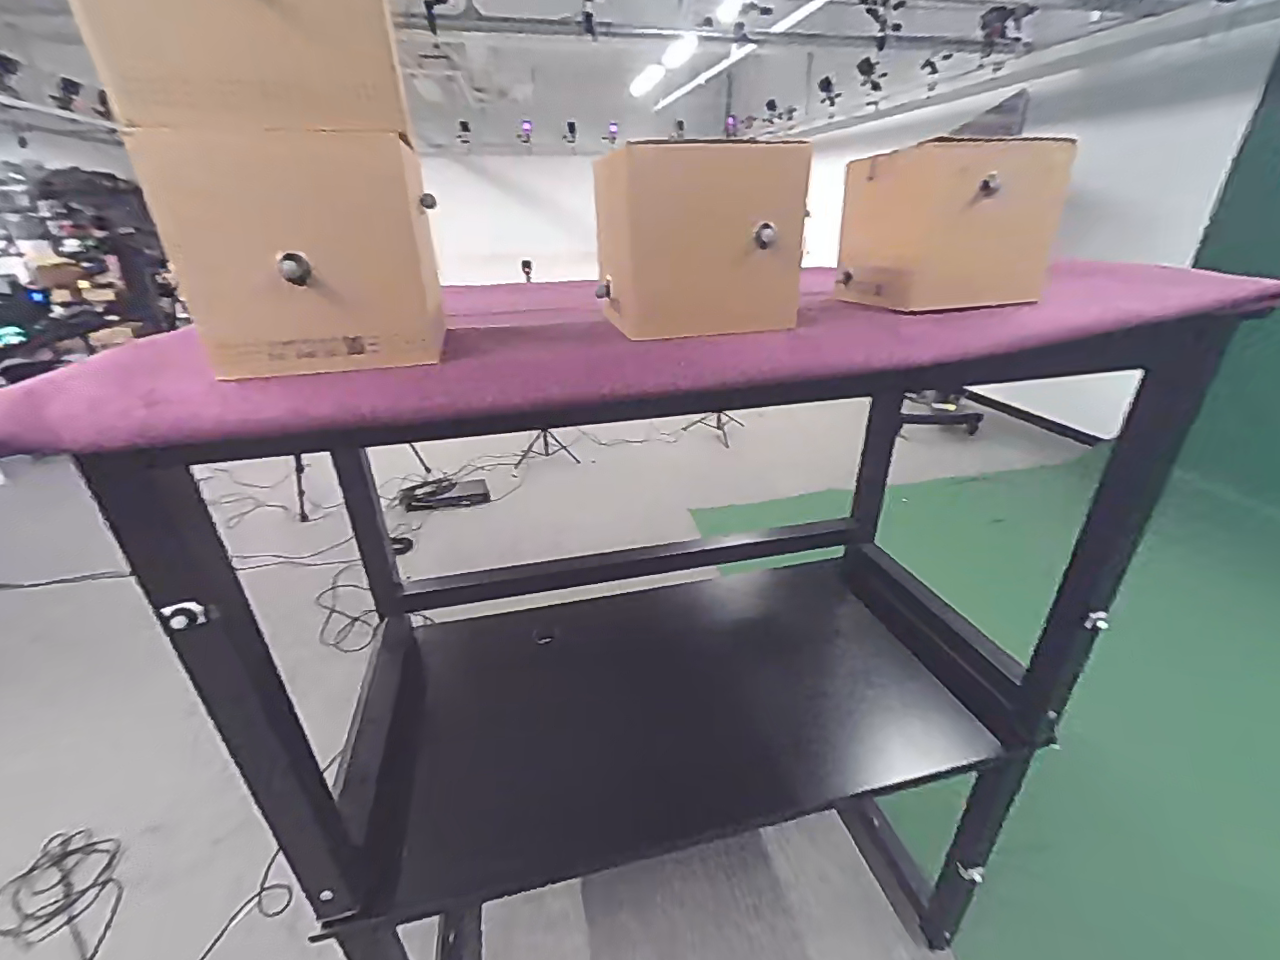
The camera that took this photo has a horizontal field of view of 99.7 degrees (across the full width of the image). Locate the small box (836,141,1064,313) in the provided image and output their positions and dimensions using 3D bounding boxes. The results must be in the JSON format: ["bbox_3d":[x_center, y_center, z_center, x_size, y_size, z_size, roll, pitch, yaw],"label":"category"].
[{"bbox_3d":[0.359,-0.302,0.664,0.179,0.176,0.168,-7,24,-10],"label":"small box"}]

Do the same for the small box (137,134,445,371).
[{"bbox_3d":[-0.272,-0.196,0.477,0.168,0.176,0.179,-7,27,-14],"label":"small box"}]

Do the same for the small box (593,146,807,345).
[{"bbox_3d":[0.052,-0.248,0.576,0.179,0.176,0.168,-9,26,-12],"label":"small box"}]
